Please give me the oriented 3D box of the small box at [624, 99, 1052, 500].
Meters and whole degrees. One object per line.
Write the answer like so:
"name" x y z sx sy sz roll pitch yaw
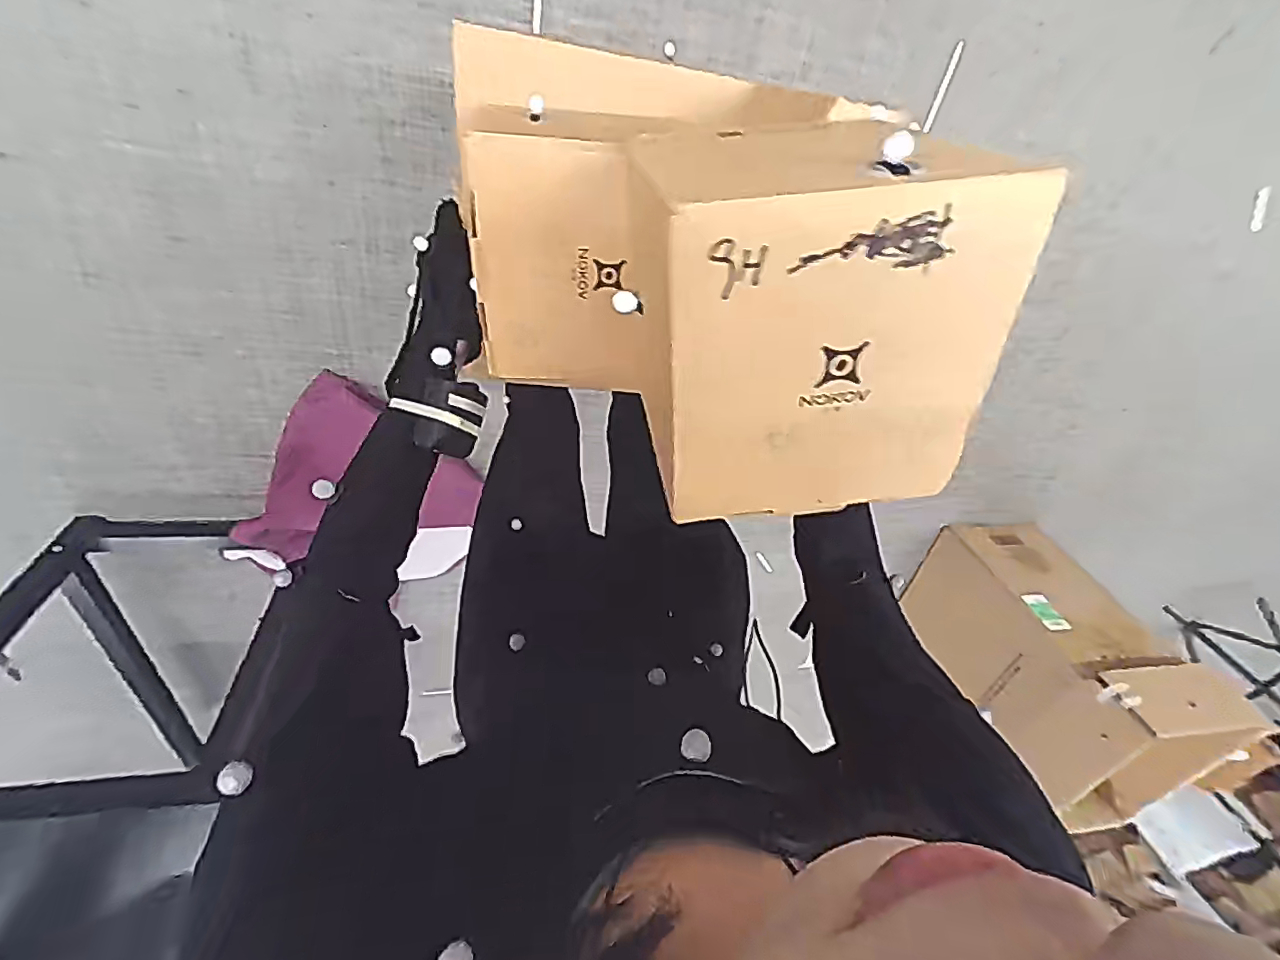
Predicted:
"small box" 0.083 -0.113 0.330 0.168 0.176 0.179 -7 130 -4

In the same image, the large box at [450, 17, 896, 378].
"large box" 0.002 -0.332 0.666 0.408 0.320 0.320 1 129 -12
